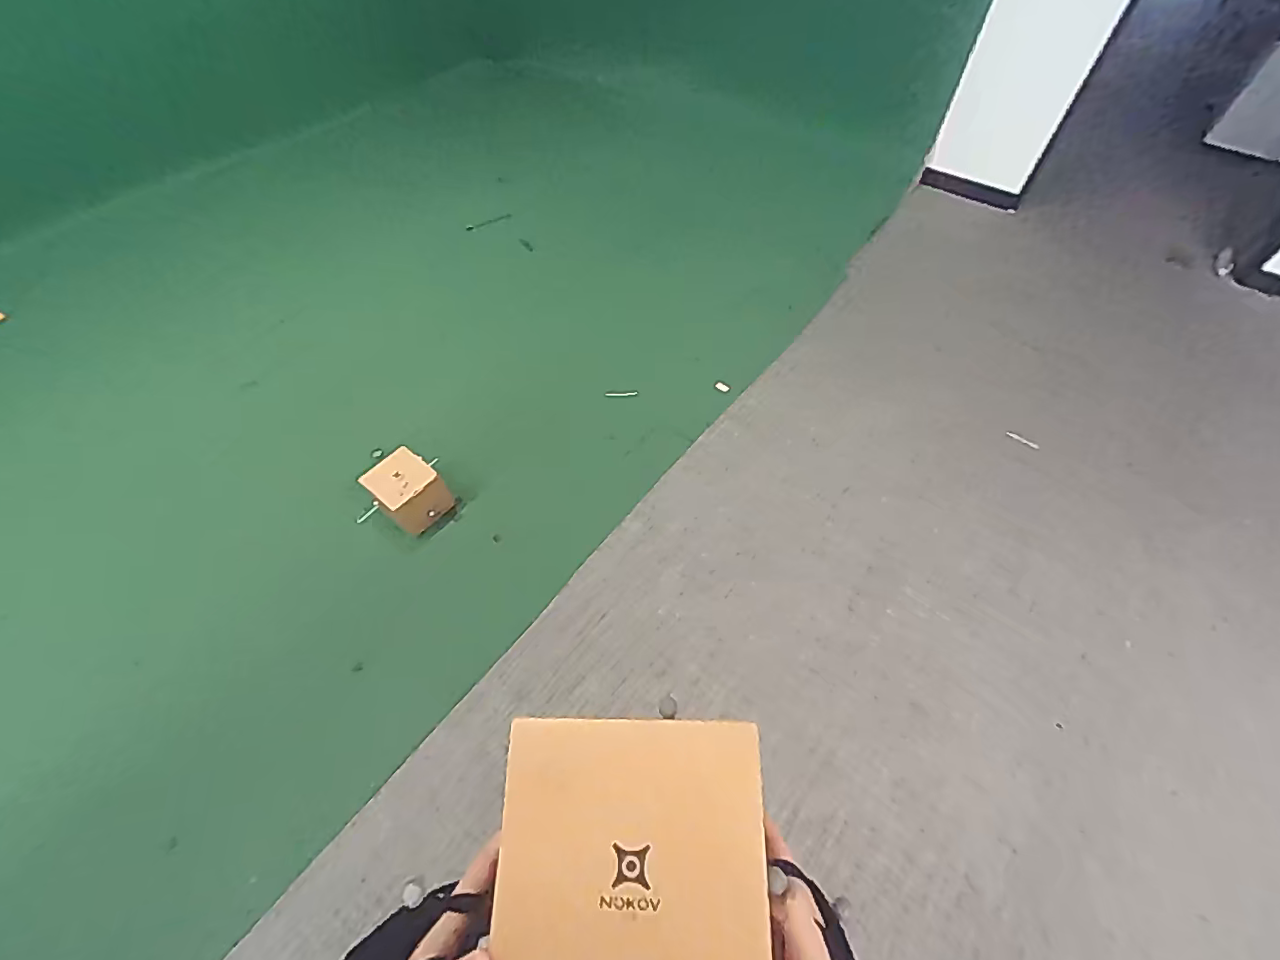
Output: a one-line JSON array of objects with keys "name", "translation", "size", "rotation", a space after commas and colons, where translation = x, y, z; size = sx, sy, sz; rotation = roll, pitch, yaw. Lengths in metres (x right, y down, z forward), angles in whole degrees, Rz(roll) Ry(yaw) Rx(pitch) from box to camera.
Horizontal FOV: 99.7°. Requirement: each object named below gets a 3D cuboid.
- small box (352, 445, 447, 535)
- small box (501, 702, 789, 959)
[{"name": "small box", "translation": [-0.718, 0.035, 1.630], "size": [0.179, 0.176, 0.168], "rotation": [34, 62, 20]}, {"name": "small box", "translation": [0.006, 0.263, 0.396], "size": [0.168, 0.176, 0.179], "rotation": [1, 67, 3]}]
